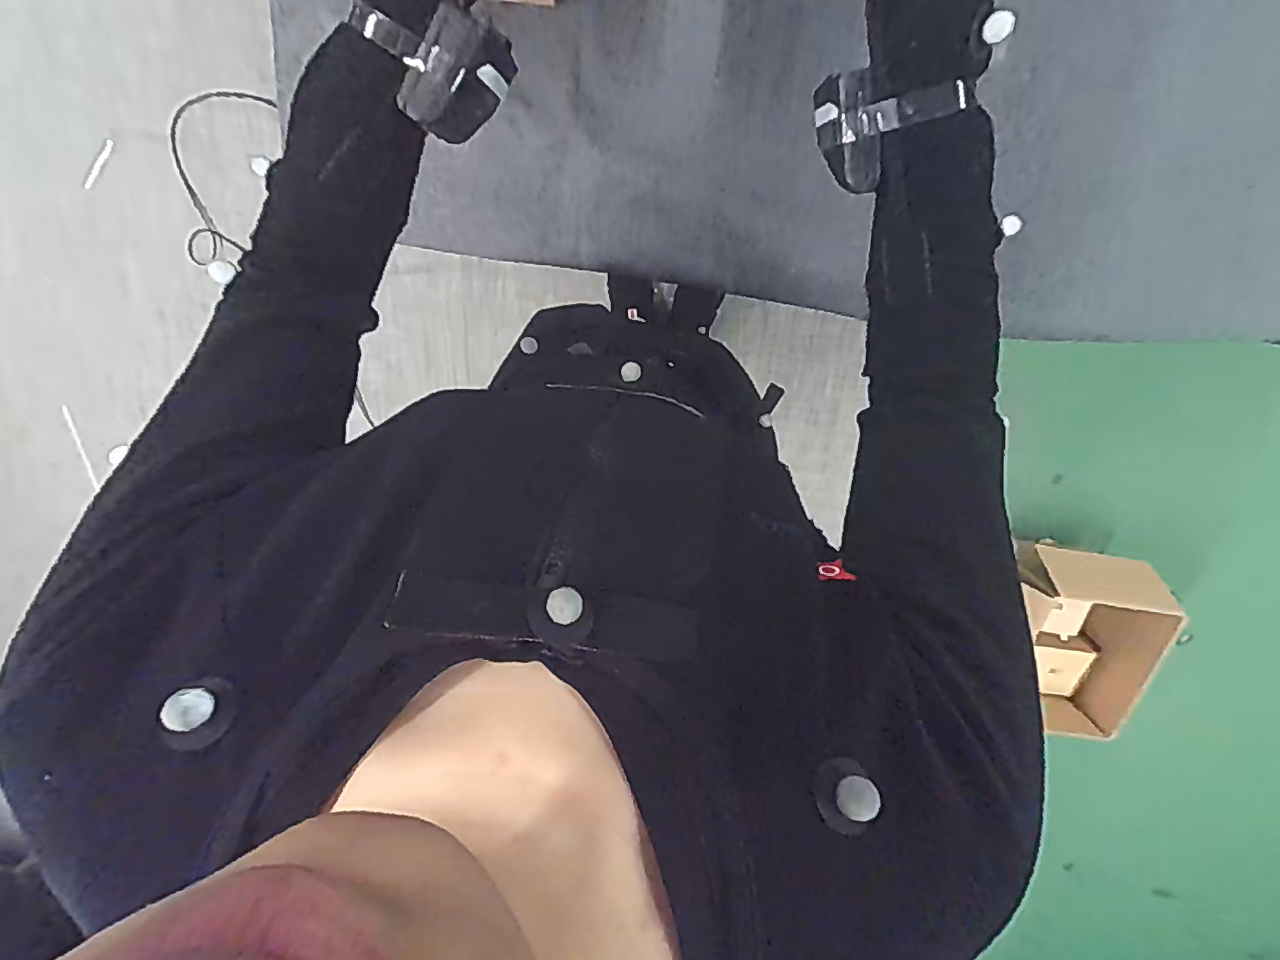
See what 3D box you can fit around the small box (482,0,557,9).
[{"bbox_3d":[-0.155,-0.536,0.441,0.168,0.176,0.179,7,113,1],"label":"small box"}]
